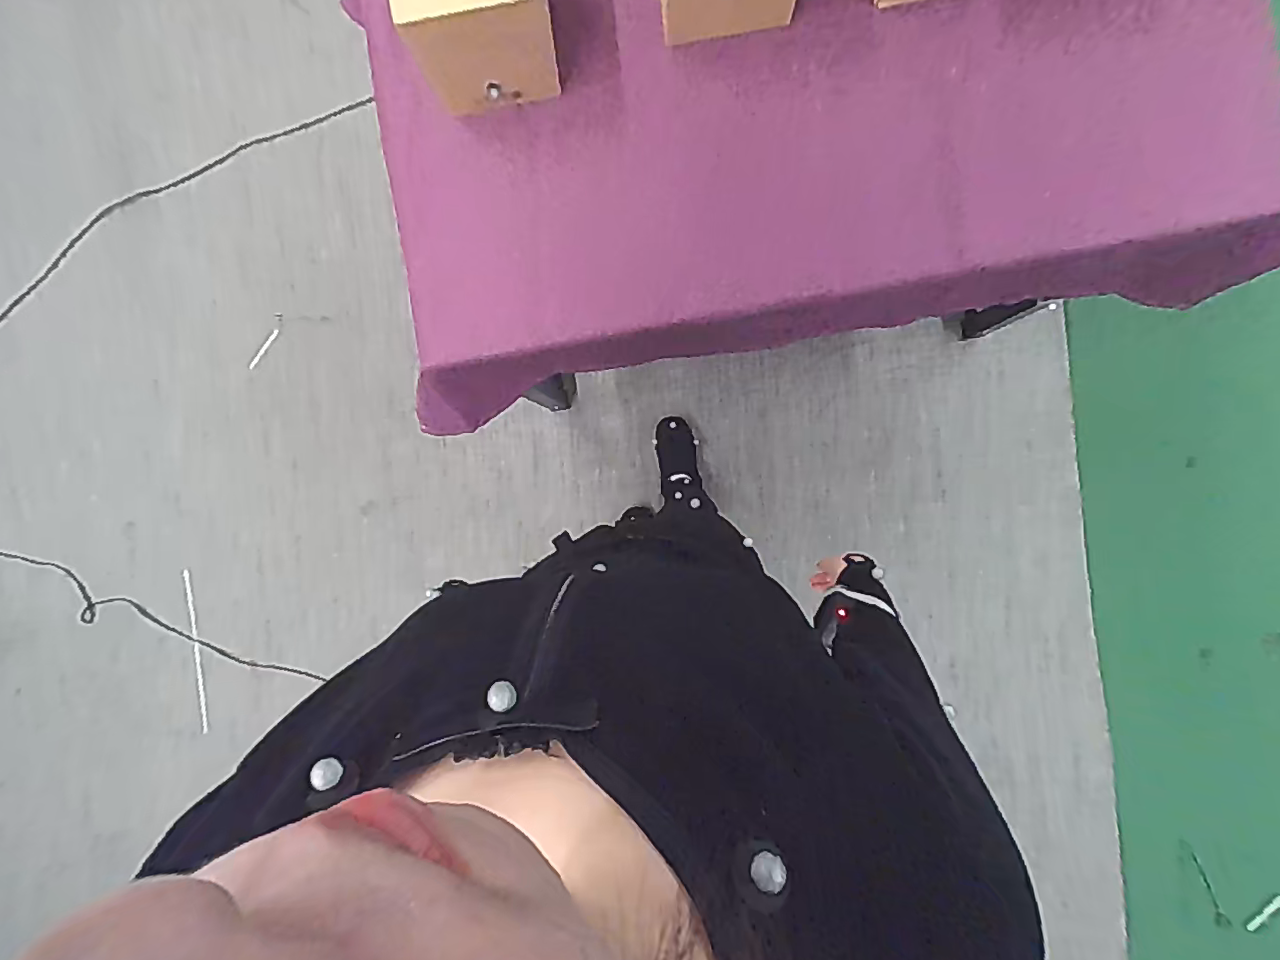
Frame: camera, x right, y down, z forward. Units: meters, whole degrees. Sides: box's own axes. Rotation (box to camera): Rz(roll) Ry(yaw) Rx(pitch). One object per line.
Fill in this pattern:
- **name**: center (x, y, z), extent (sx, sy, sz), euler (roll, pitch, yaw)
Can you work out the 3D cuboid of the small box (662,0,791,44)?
- **small box**: center (0.110, -0.701, 0.676), extent (0.179, 0.176, 0.168), euler (-7, 90, 6)
